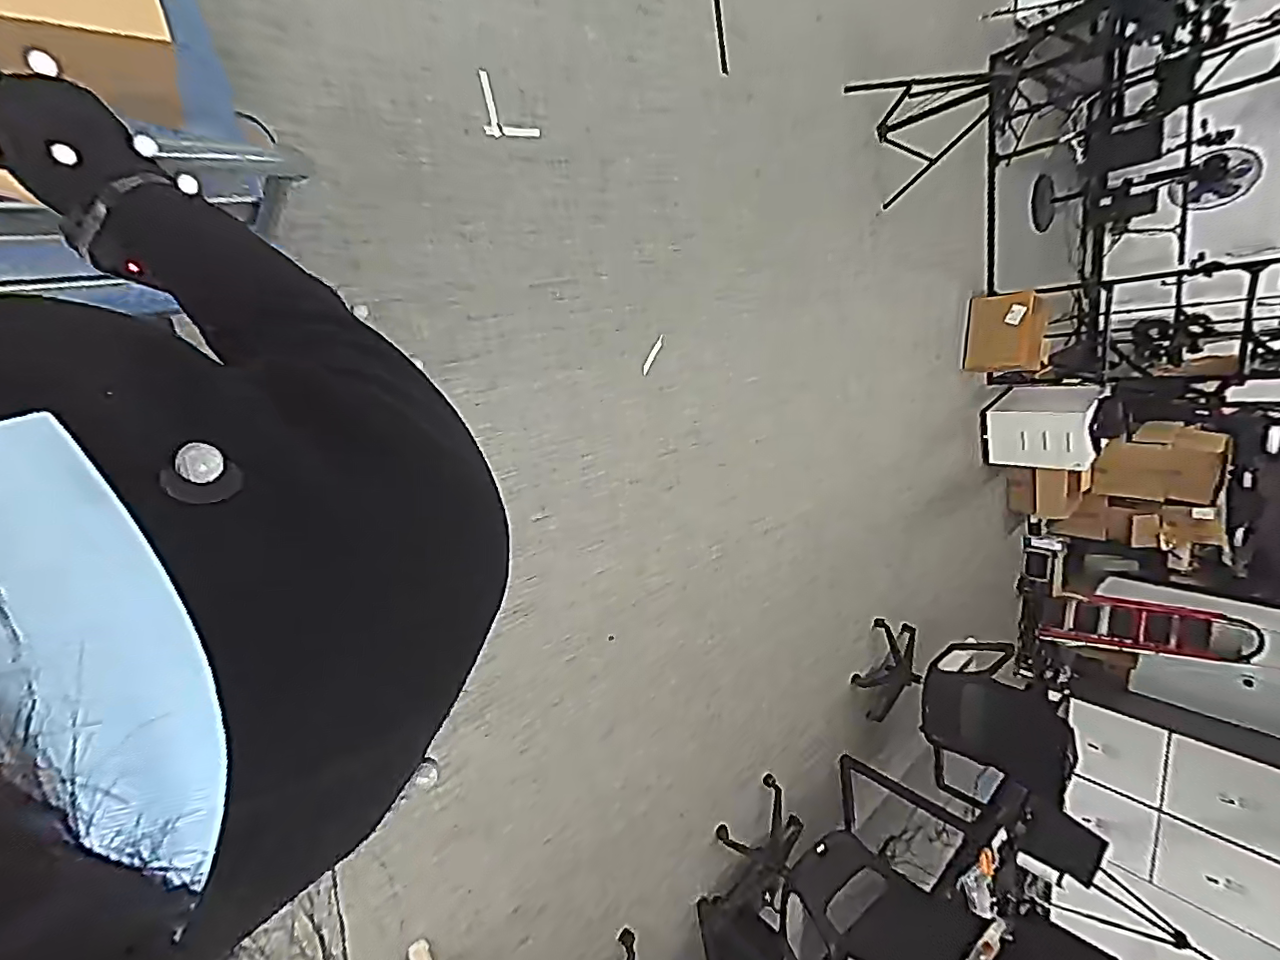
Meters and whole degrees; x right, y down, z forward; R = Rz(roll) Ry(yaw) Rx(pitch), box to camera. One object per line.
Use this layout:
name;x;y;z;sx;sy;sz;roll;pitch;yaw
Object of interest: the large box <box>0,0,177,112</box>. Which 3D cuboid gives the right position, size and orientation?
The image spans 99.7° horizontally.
large box;-0.907;-0.719;0.694;0.408;0.320;0.320;-19;108;-34
